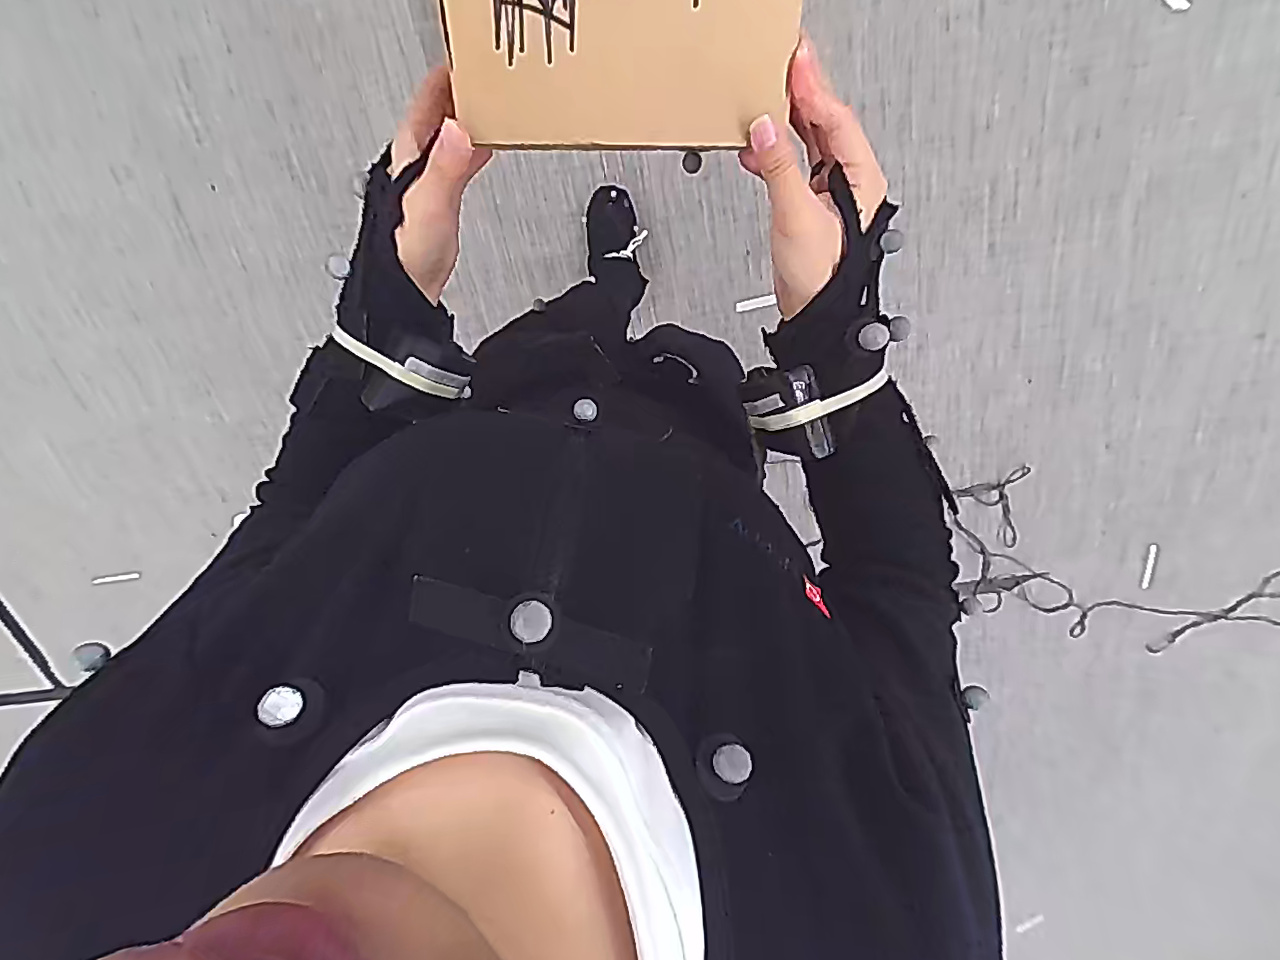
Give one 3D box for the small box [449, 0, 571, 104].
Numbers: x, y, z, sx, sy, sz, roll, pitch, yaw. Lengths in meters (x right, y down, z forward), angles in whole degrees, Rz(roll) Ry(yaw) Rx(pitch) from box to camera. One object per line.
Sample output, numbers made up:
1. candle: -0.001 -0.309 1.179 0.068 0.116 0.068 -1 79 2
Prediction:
1. small box: -0.231 -0.825 0.998 0.179 0.176 0.168 -10 113 6
